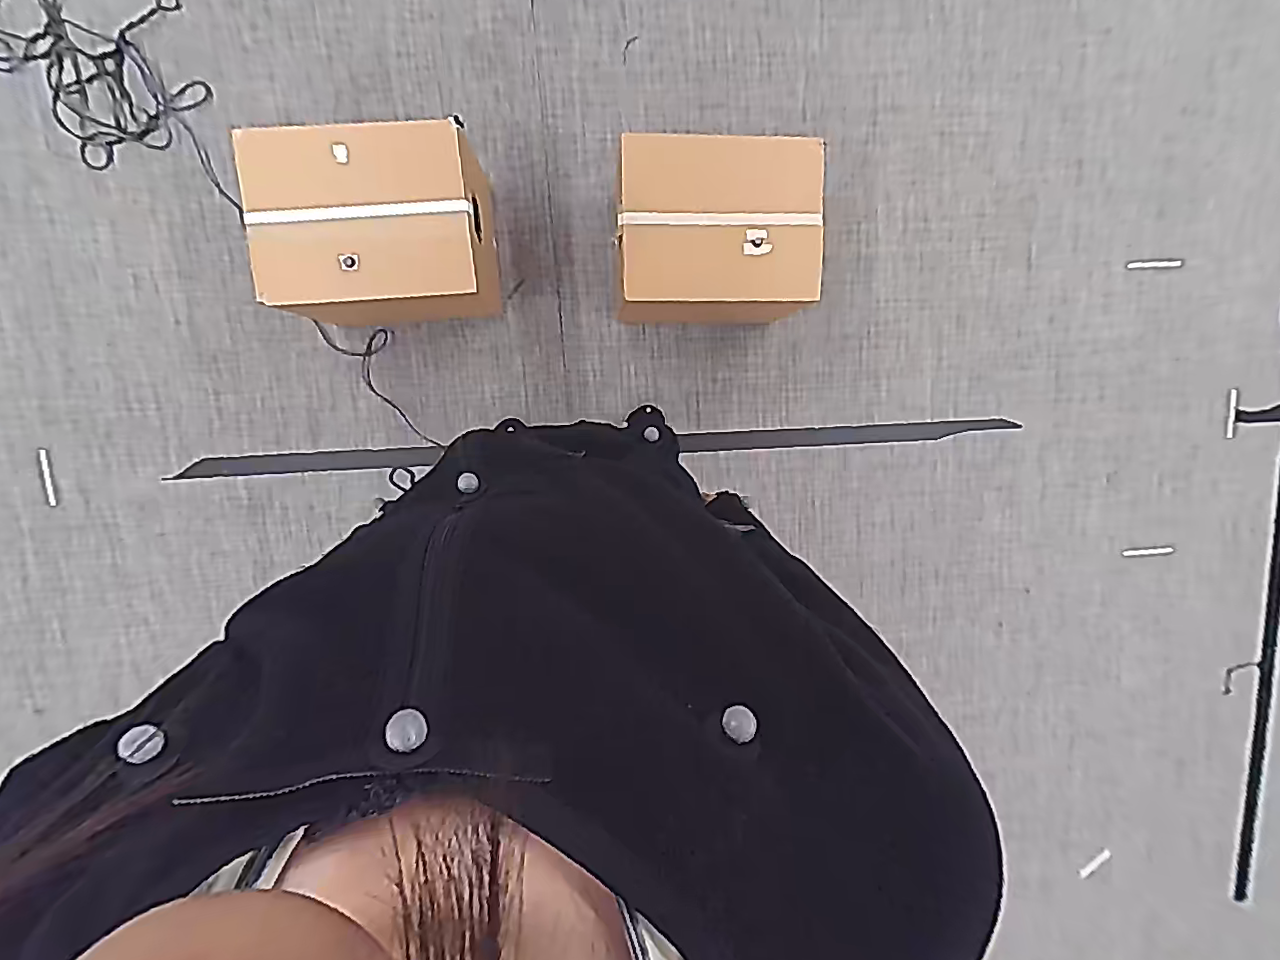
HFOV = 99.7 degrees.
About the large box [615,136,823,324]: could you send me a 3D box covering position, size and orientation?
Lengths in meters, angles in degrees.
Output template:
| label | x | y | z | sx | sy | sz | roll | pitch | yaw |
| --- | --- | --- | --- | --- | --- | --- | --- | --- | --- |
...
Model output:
| label | x | y | z | sx | sy | sz | roll | pitch | yaw |
| --- | --- | --- | --- | --- | --- | --- | --- | --- | --- |
| large box | 0.155 | -0.537 | 1.224 | 0.408 | 0.320 | 0.320 | -1 | 98 | -5 |
